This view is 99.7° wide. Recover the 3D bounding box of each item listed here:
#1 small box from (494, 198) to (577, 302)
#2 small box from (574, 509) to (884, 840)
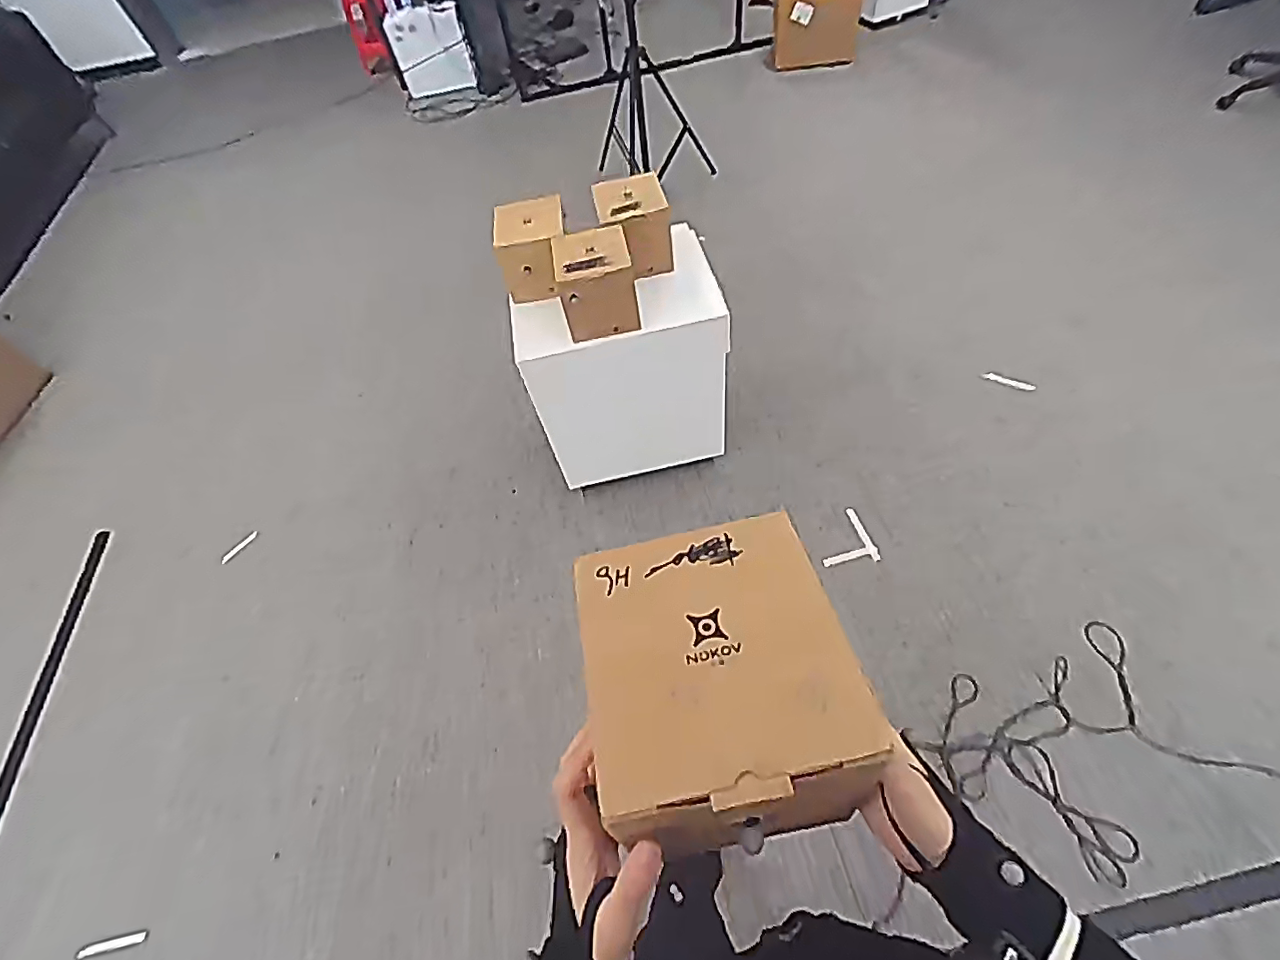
[{"bbox_3d":[-0.257,-0.563,1.349,0.168,0.176,0.179,-10,56,1],"label":"small box"},{"bbox_3d":[0.054,0.153,0.409,0.168,0.176,0.179,-12,48,-1],"label":"small box"}]
